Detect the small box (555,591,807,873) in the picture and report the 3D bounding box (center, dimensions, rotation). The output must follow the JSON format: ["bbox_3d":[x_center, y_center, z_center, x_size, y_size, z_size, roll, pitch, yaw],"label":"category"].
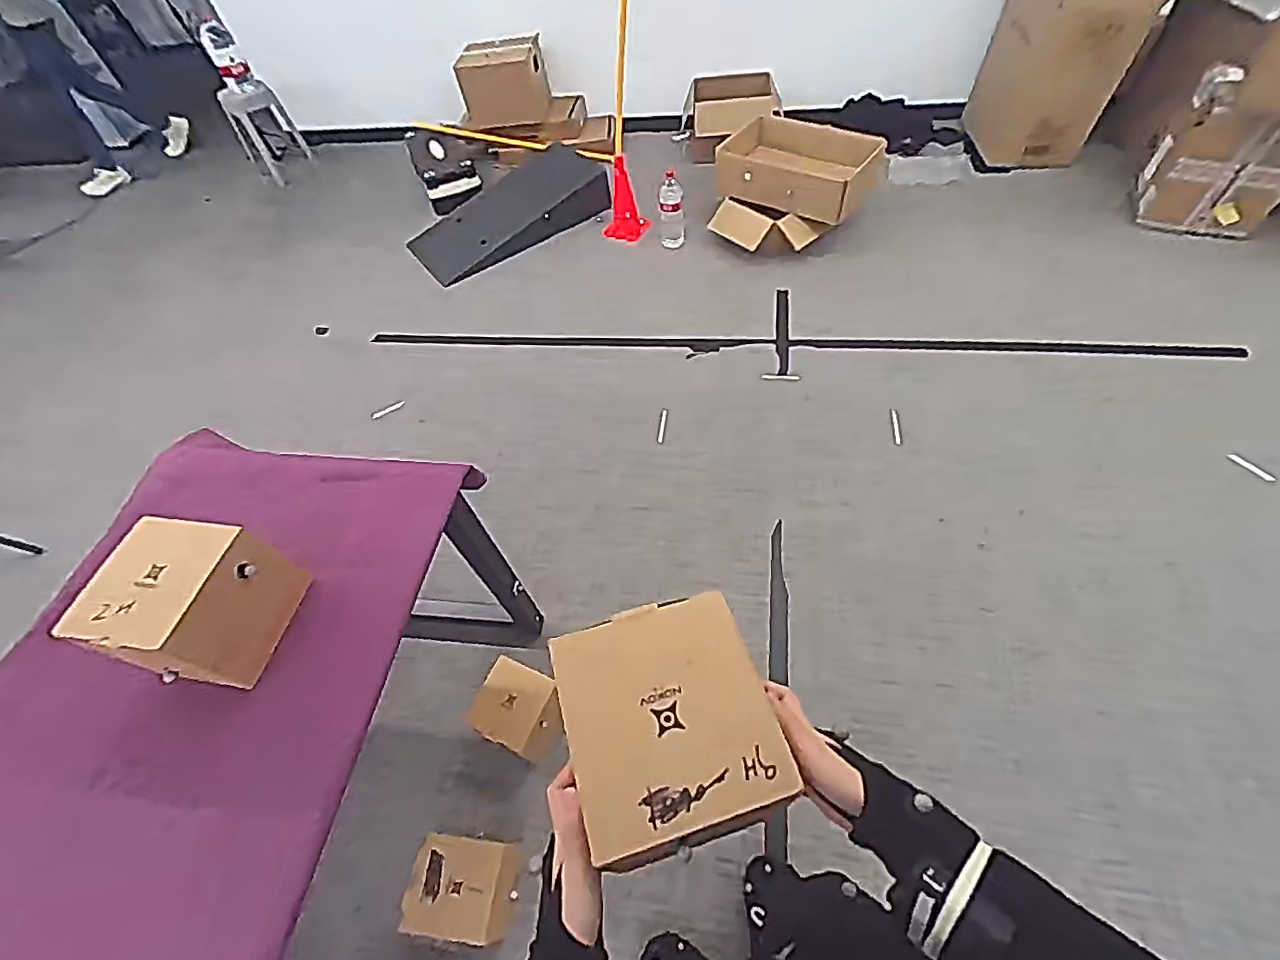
[{"bbox_3d":[0.027,0.235,0.502,0.168,0.176,0.179,-15,53,-7],"label":"small box"}]

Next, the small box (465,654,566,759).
[{"bbox_3d":[-0.299,0.569,1.350,0.168,0.176,0.179,19,60,18],"label":"small box"}]

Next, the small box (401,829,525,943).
[{"bbox_3d":[-0.365,0.858,1.153,0.179,0.176,0.168,4,56,8],"label":"small box"}]

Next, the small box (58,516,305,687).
[{"bbox_3d":[-0.621,0.174,0.767,0.168,0.176,0.179,5,56,11],"label":"small box"}]
